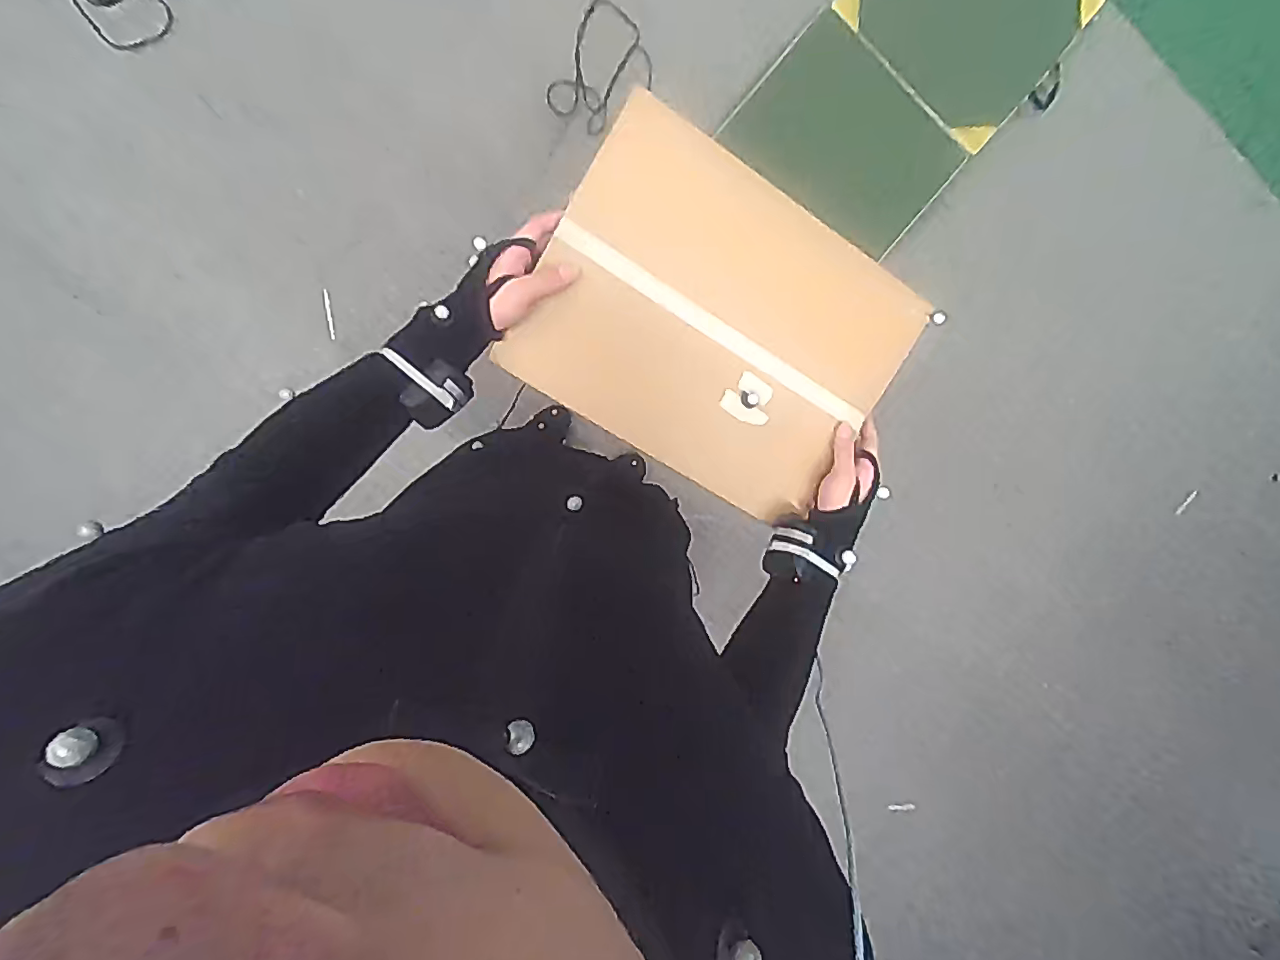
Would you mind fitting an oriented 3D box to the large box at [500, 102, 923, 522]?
[{"bbox_3d":[0.068,-0.197,0.752,0.408,0.320,0.320,30,97,-12],"label":"large box"}]
